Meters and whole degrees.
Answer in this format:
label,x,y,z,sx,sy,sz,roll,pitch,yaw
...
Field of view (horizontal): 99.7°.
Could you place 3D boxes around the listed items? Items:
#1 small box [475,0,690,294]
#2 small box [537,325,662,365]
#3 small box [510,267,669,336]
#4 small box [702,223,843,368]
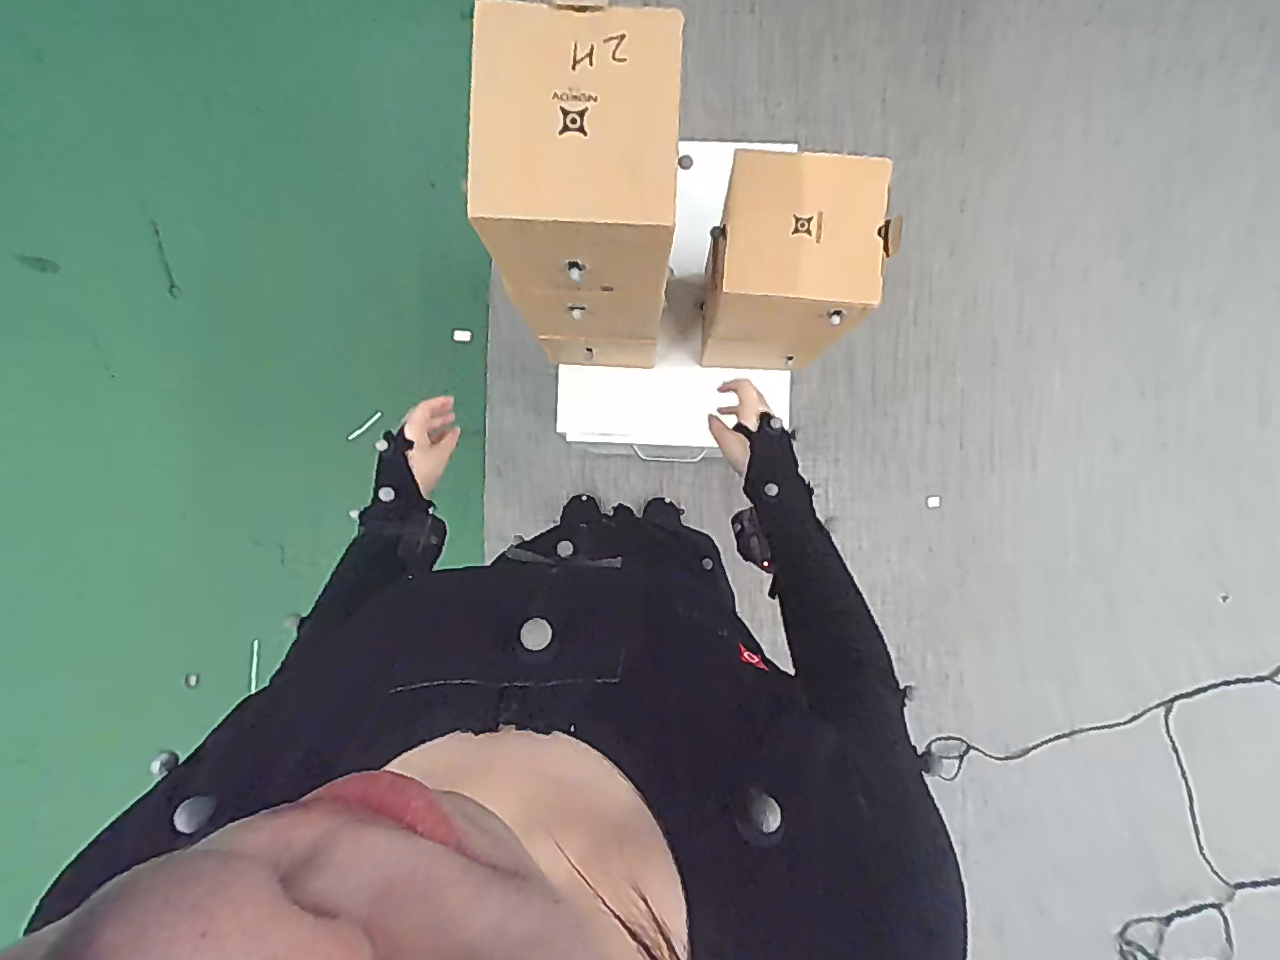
label,x,y,z,sx,sy,sz,roll,pitch,yaw
small box,-0.046,-0.287,0.506,0.168,0.176,0.179,2,90,-1
small box,-0.052,-0.277,0.835,0.179,0.176,0.168,3,90,0
small box,-0.053,-0.283,0.670,0.179,0.176,0.168,2,90,-1
small box,0.194,-0.273,0.834,0.179,0.176,0.168,3,89,3
